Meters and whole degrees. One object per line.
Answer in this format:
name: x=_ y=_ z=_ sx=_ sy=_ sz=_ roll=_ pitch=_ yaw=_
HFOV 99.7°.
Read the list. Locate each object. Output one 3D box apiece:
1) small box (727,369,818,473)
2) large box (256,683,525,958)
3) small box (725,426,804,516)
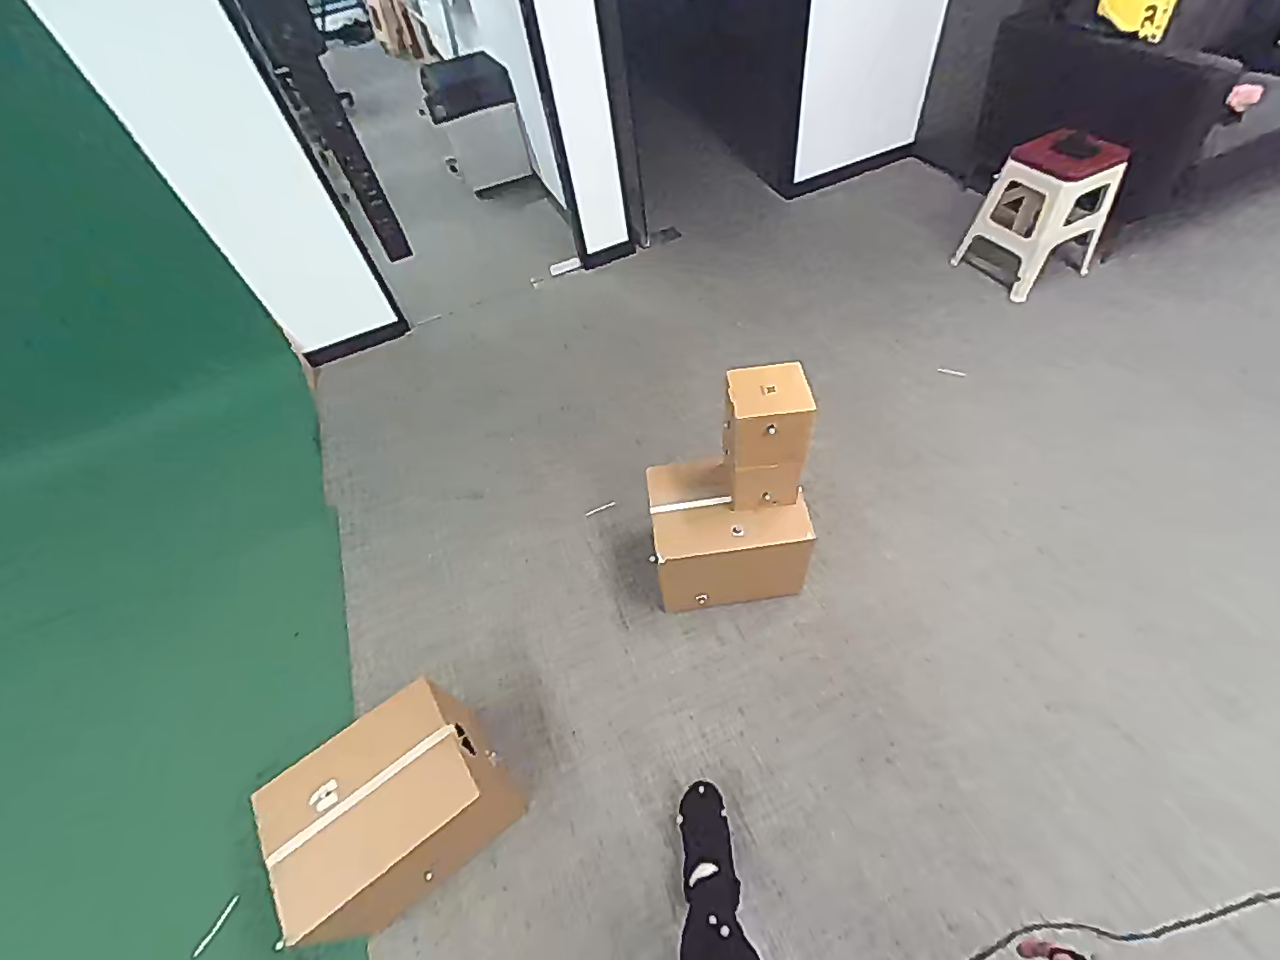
small box: x=0.301 y=-0.135 z=1.269 sx=0.179 sy=0.176 sz=0.168 roll=-7 pitch=49 yaw=4
large box: x=-0.539 y=0.749 z=1.222 sx=0.408 sy=0.320 sz=0.320 roll=-34 pitch=54 yaw=-16
small box: x=0.312 y=-0.031 z=1.394 sx=0.168 sy=0.176 sz=0.179 roll=-8 pitch=50 yaw=3
